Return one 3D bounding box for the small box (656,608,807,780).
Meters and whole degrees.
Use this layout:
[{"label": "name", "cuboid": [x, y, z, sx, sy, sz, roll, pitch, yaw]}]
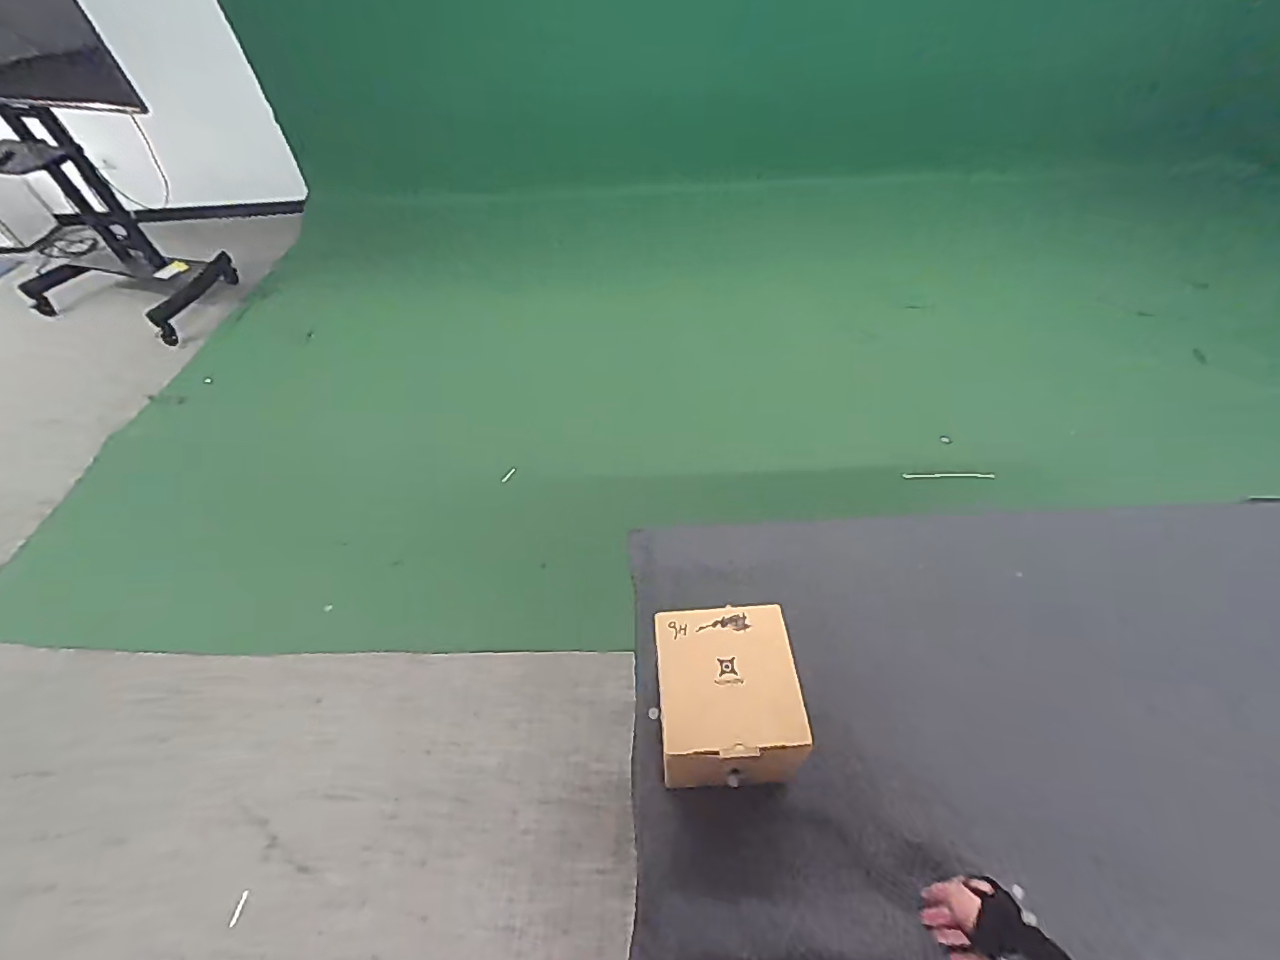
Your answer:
[{"label": "small box", "cuboid": [0.109, 0.291, 0.723, 0.168, 0.176, 0.179, -3, 51, 0]}]
